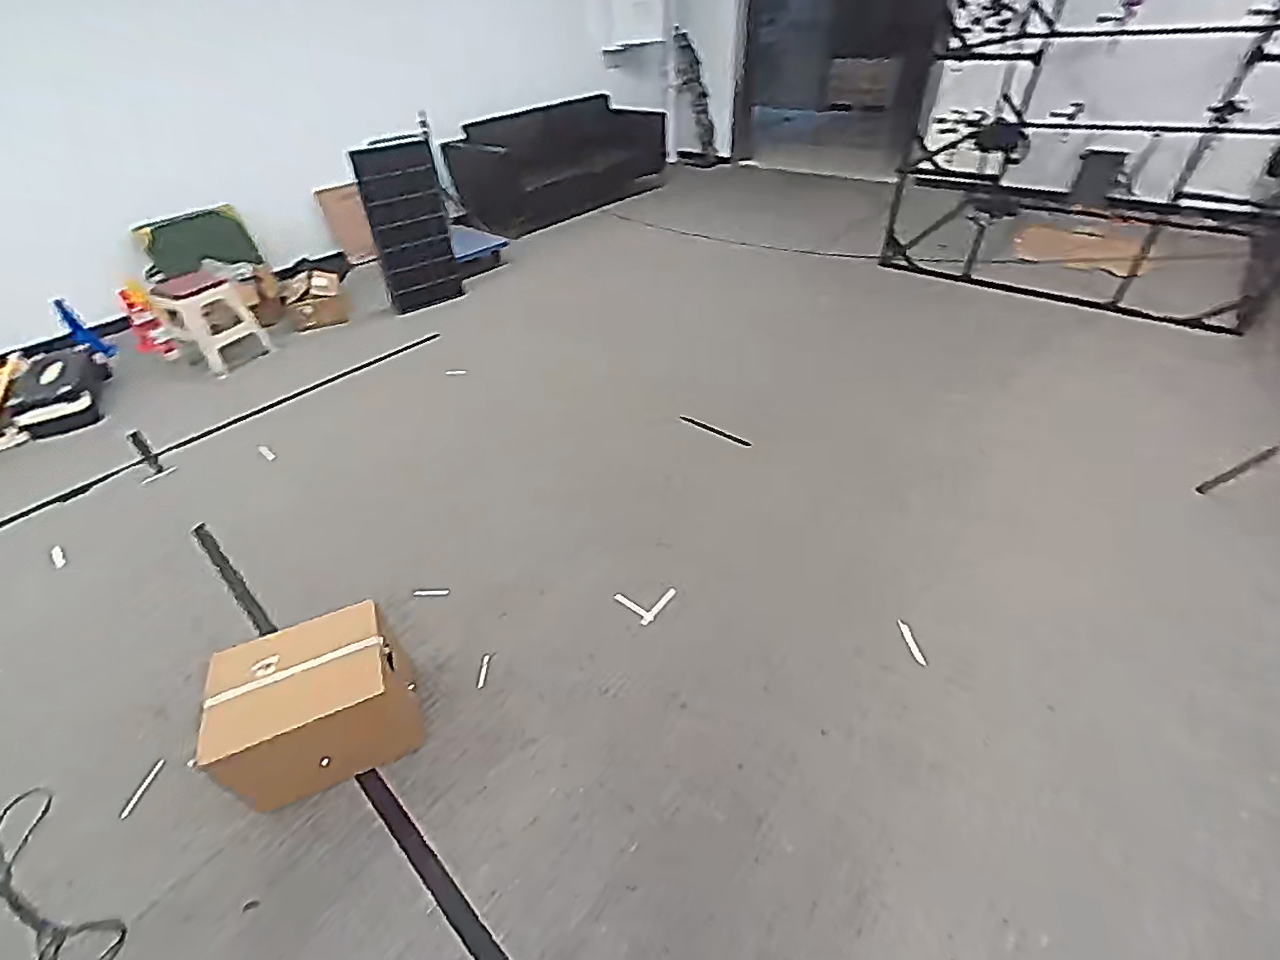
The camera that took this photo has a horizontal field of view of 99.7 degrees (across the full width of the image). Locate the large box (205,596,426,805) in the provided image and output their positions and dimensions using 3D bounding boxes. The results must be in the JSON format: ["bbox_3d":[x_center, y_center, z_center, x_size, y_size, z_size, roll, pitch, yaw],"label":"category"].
[{"bbox_3d":[-0.845,0.585,1.458,0.408,0.320,0.320,-19,43,-17],"label":"large box"}]
